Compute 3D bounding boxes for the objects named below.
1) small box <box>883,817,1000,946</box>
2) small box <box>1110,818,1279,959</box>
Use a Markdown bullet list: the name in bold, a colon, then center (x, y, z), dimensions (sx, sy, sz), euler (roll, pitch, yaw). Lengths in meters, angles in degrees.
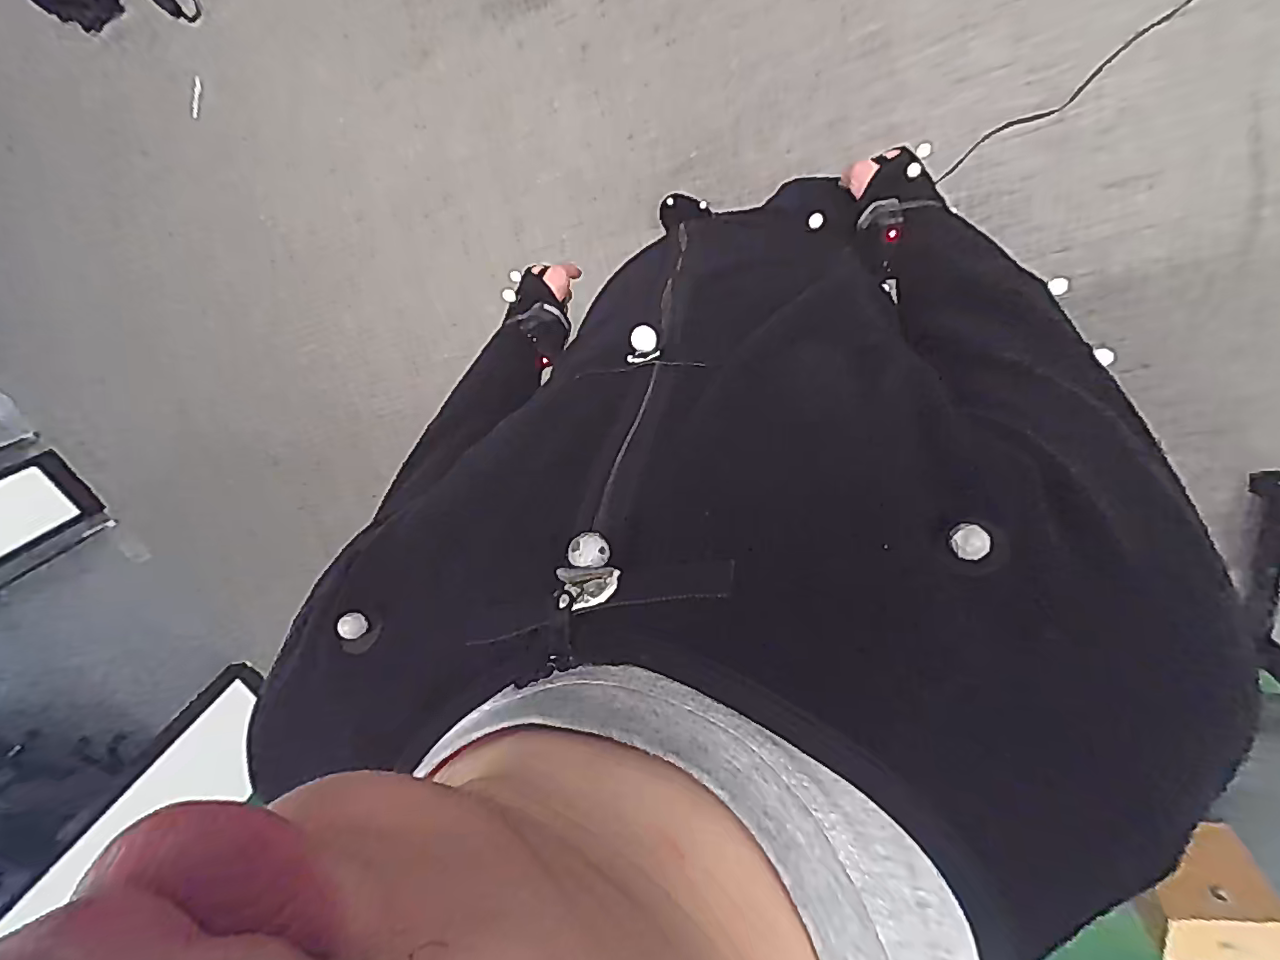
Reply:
- **small box**: center (0.629, 0.847, 1.149), dimensions (0.179, 0.176, 0.168), euler (-7, 118, 15)
- **small box**: center (1.038, 0.767, 1.018), dimensions (0.179, 0.176, 0.168), euler (-12, 116, 20)
